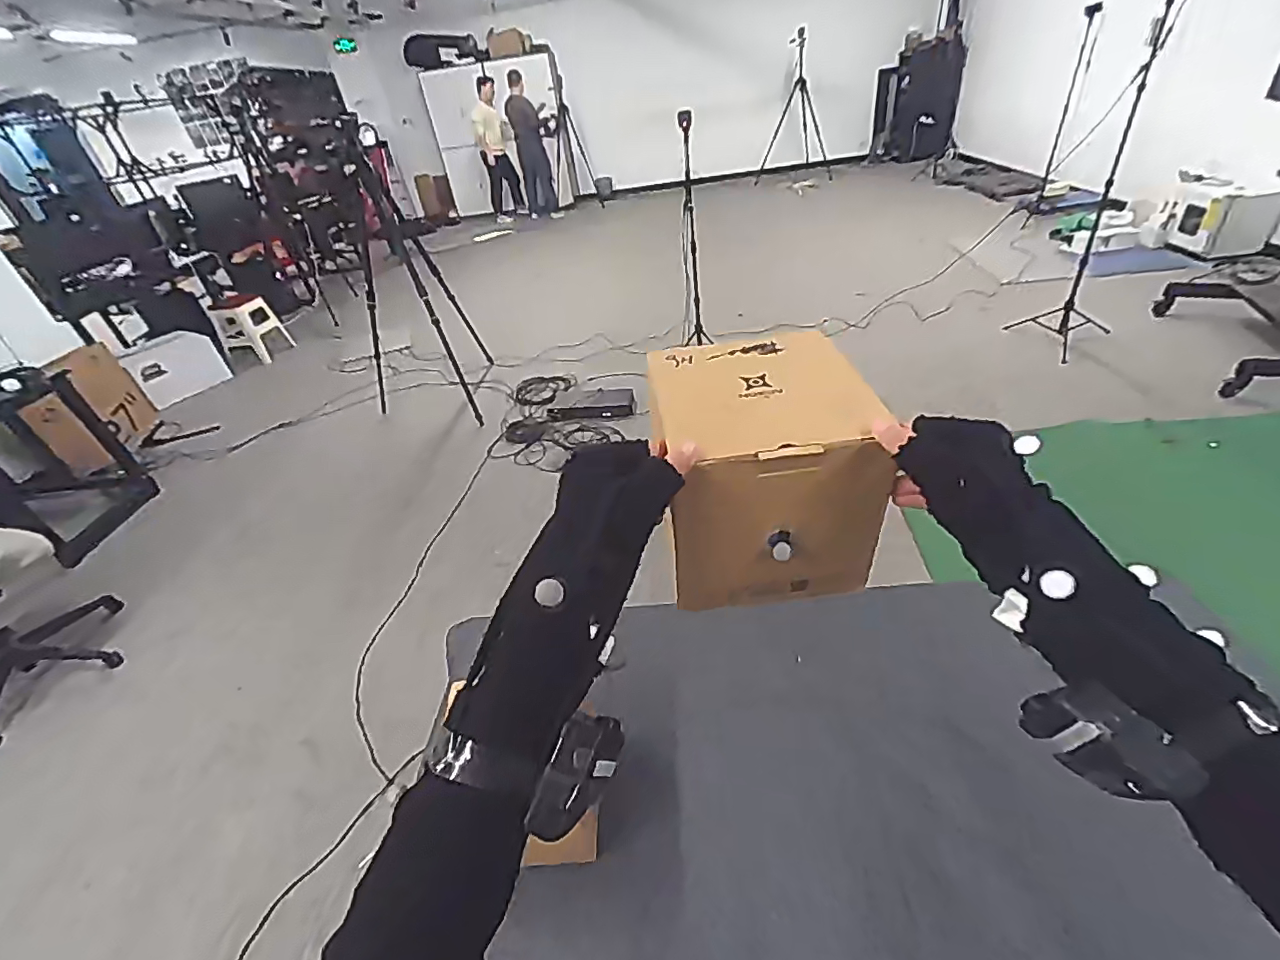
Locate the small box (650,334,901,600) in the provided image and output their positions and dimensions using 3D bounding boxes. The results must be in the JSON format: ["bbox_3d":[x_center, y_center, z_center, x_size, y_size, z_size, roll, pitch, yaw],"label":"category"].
[{"bbox_3d":[0.102,-0.008,0.484,0.168,0.176,0.179,-6,40,0],"label":"small box"}]

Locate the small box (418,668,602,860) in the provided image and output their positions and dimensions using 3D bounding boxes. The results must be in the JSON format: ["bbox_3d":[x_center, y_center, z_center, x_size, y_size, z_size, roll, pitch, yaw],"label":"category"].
[{"bbox_3d":[-0.152,0.369,0.702,0.179,0.176,0.168,-5,37,3],"label":"small box"}]
